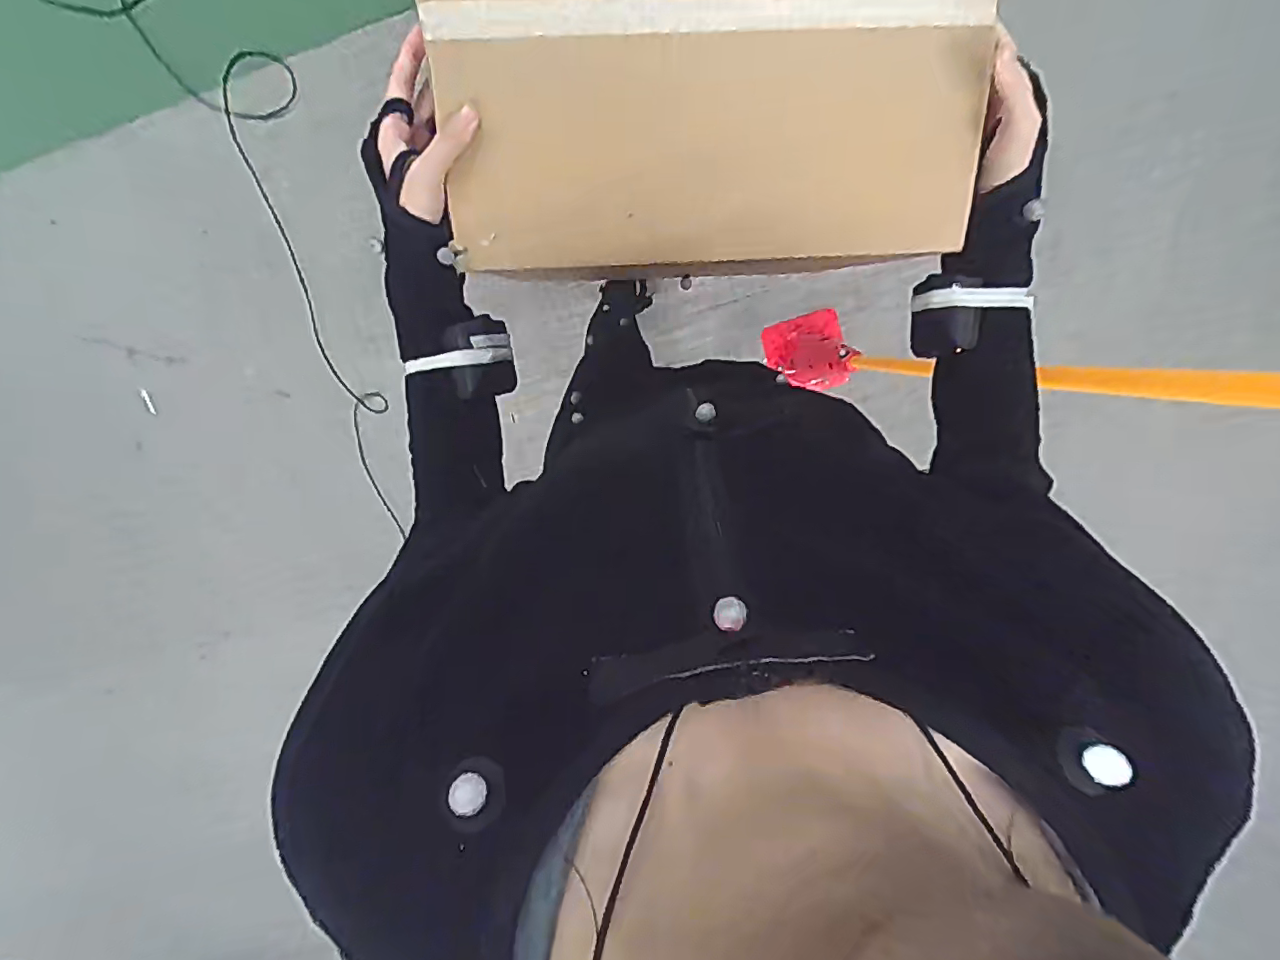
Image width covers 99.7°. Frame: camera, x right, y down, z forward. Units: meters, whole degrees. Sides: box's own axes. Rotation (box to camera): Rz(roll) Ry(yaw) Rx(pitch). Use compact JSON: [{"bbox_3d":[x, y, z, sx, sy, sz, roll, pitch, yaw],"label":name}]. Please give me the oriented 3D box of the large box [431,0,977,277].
[{"bbox_3d":[0.044,-0.374,0.537,0.408,0.320,0.320,-2,108,-2],"label":"large box"}]
